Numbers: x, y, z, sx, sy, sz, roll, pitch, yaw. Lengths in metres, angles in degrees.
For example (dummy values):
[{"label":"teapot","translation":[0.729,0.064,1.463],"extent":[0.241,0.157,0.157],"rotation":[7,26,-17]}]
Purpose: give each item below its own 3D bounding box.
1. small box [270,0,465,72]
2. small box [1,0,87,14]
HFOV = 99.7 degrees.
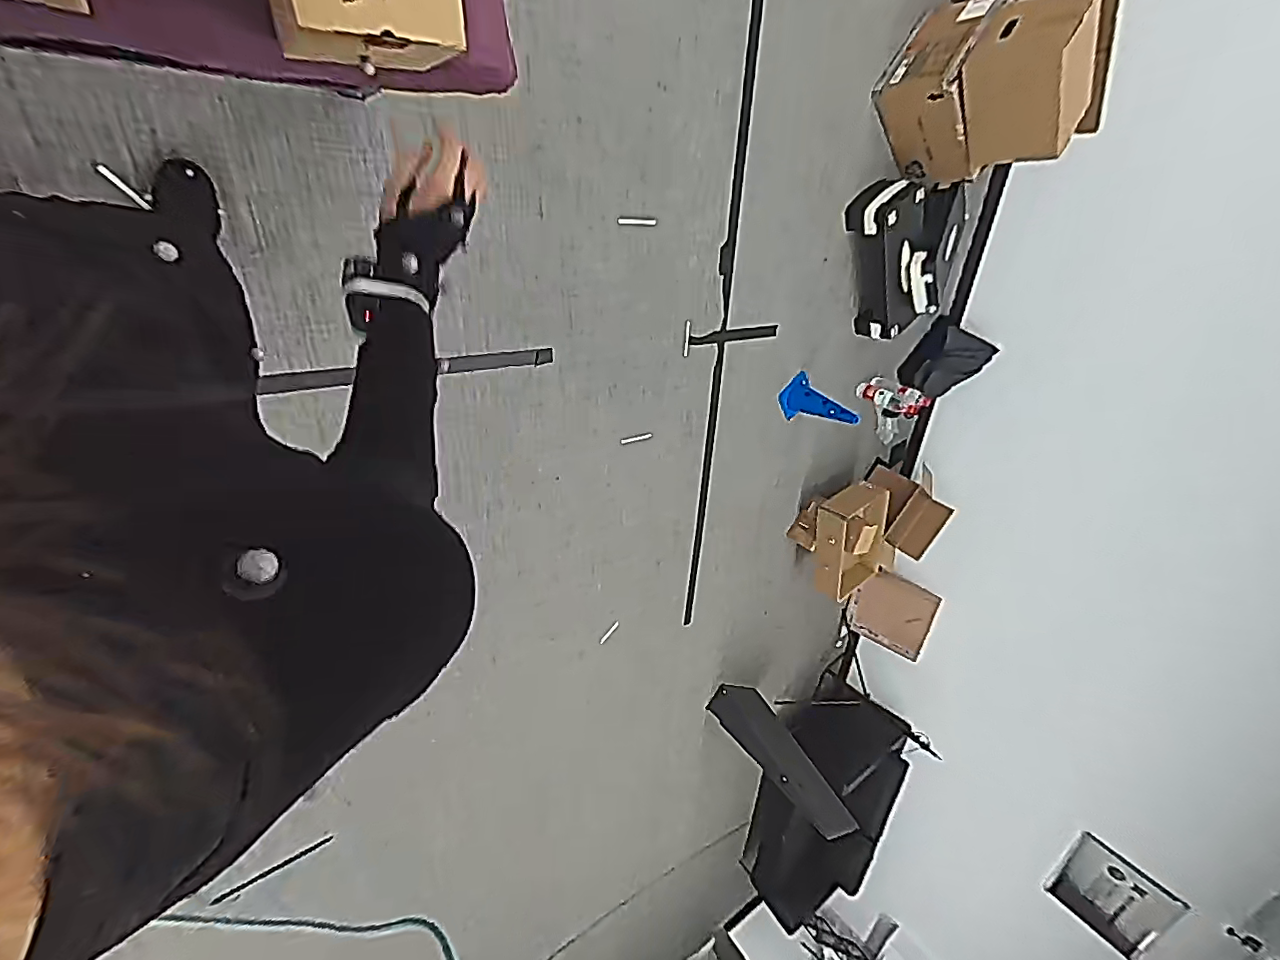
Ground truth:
[{"label":"small box","translation":[-0.304,-0.559,0.572],"extent":[0.168,0.176,0.179],"rotation":[-18,125,-30]},{"label":"small box","translation":[-0.558,-0.492,0.401],"extent":[0.168,0.176,0.179],"rotation":[-13,122,-34]}]
